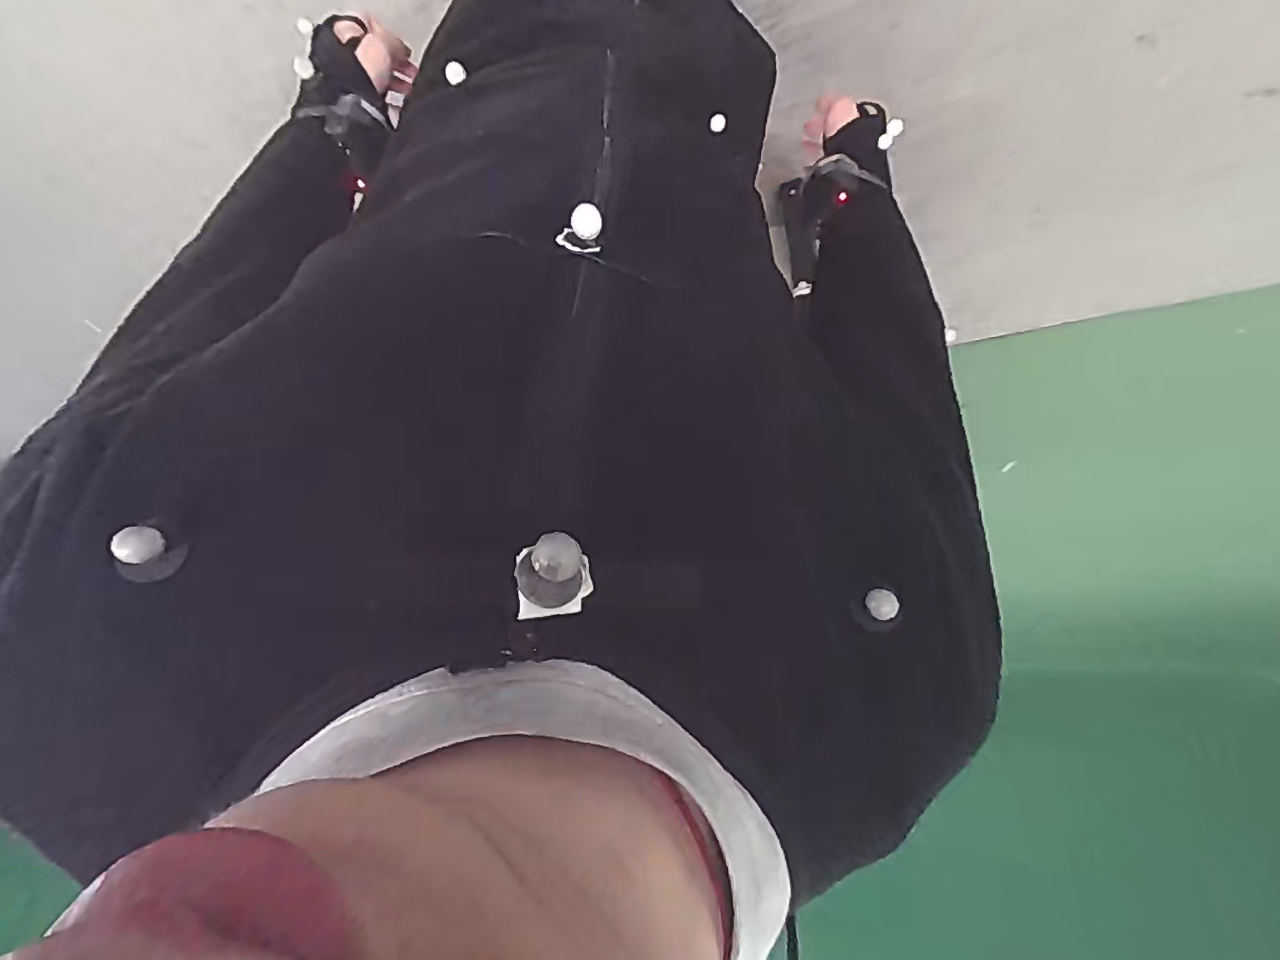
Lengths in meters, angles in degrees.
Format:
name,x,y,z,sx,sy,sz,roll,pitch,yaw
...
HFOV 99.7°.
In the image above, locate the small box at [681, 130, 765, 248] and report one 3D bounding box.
name,x,y,z,sx,sy,sz,roll,pitch,yaw
small box,0.194,-0.679,1.255,0.168,0.176,0.179,-6,144,17
